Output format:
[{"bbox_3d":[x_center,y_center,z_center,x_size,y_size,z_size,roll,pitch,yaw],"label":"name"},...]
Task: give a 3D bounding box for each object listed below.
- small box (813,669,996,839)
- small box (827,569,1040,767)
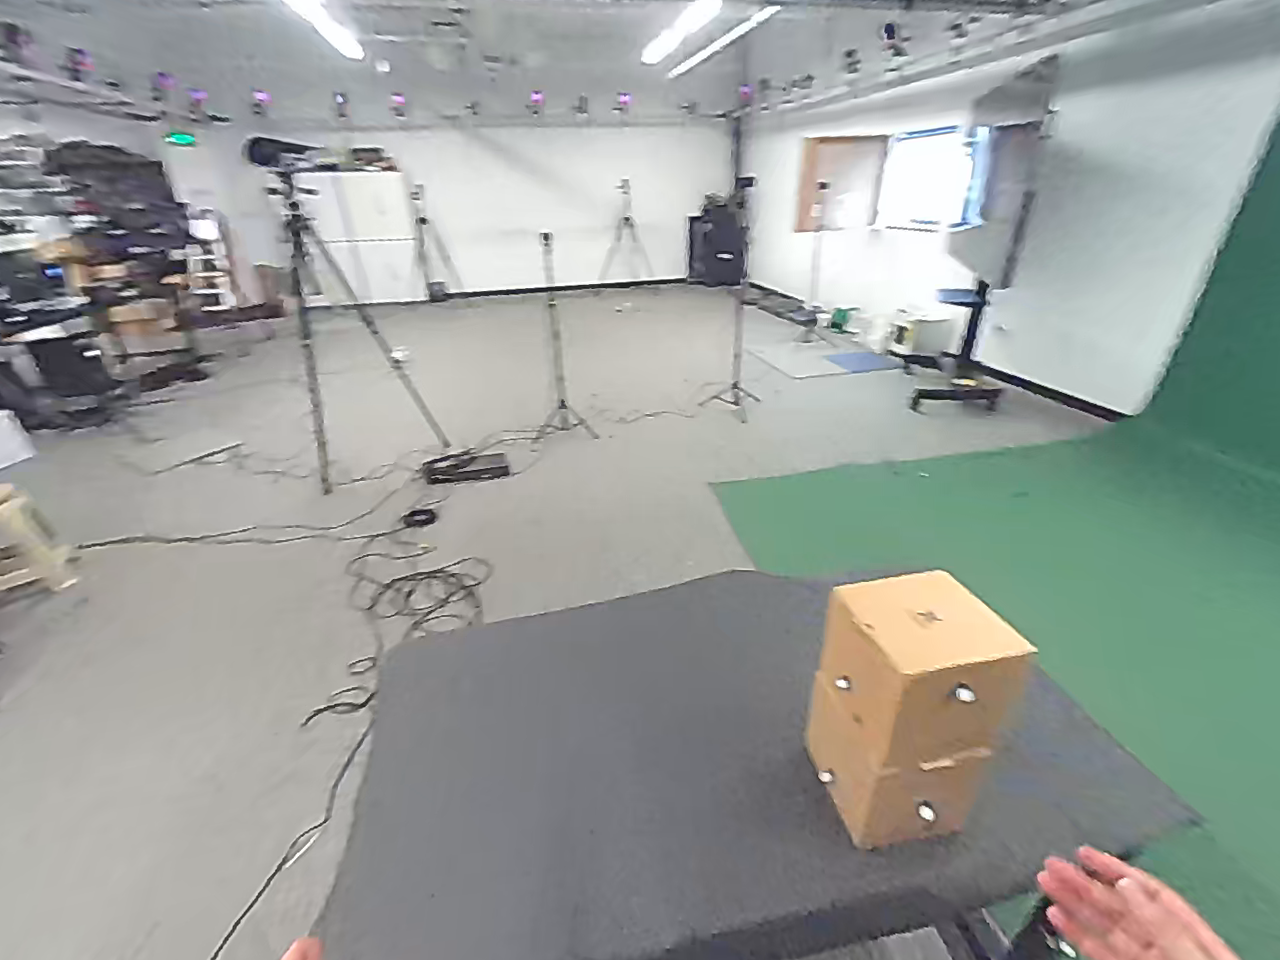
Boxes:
[{"bbox_3d":[0.371,0.392,0.794,0.168,0.176,0.179,-7,28,-6],"label":"small box"},{"bbox_3d":[0.372,0.246,0.721,0.179,0.176,0.168,-8,27,-8],"label":"small box"}]
